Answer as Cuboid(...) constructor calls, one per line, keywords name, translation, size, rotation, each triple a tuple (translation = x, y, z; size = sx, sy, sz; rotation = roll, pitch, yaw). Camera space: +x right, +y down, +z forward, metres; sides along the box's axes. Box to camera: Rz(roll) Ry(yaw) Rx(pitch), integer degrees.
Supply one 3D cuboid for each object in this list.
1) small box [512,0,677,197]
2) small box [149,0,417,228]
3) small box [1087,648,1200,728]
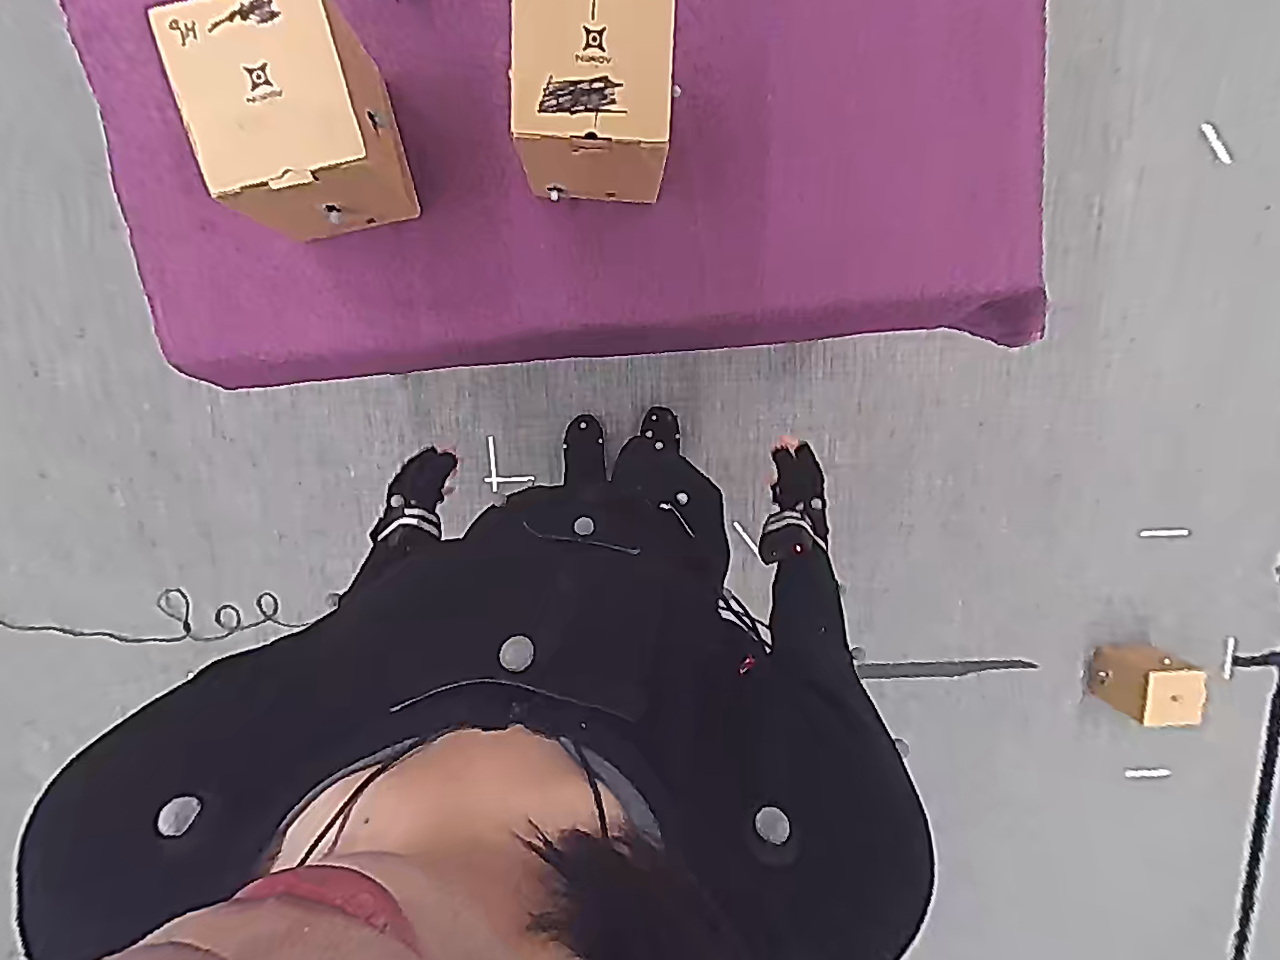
Cuboid(name="small box", translation=(-0.050, -0.451, 0.625), size=(0.168, 0.176, 0.179), rotation=(2, 97, -4))
Cuboid(name="small box", translation=(-0.376, -0.403, 0.610), size=(0.168, 0.176, 0.179), rotation=(-14, 99, -2))
Cuboid(name="small box", translation=(1.495, 0.613, 1.613), size=(0.179, 0.176, 0.168), rotation=(-1, 97, -3))
